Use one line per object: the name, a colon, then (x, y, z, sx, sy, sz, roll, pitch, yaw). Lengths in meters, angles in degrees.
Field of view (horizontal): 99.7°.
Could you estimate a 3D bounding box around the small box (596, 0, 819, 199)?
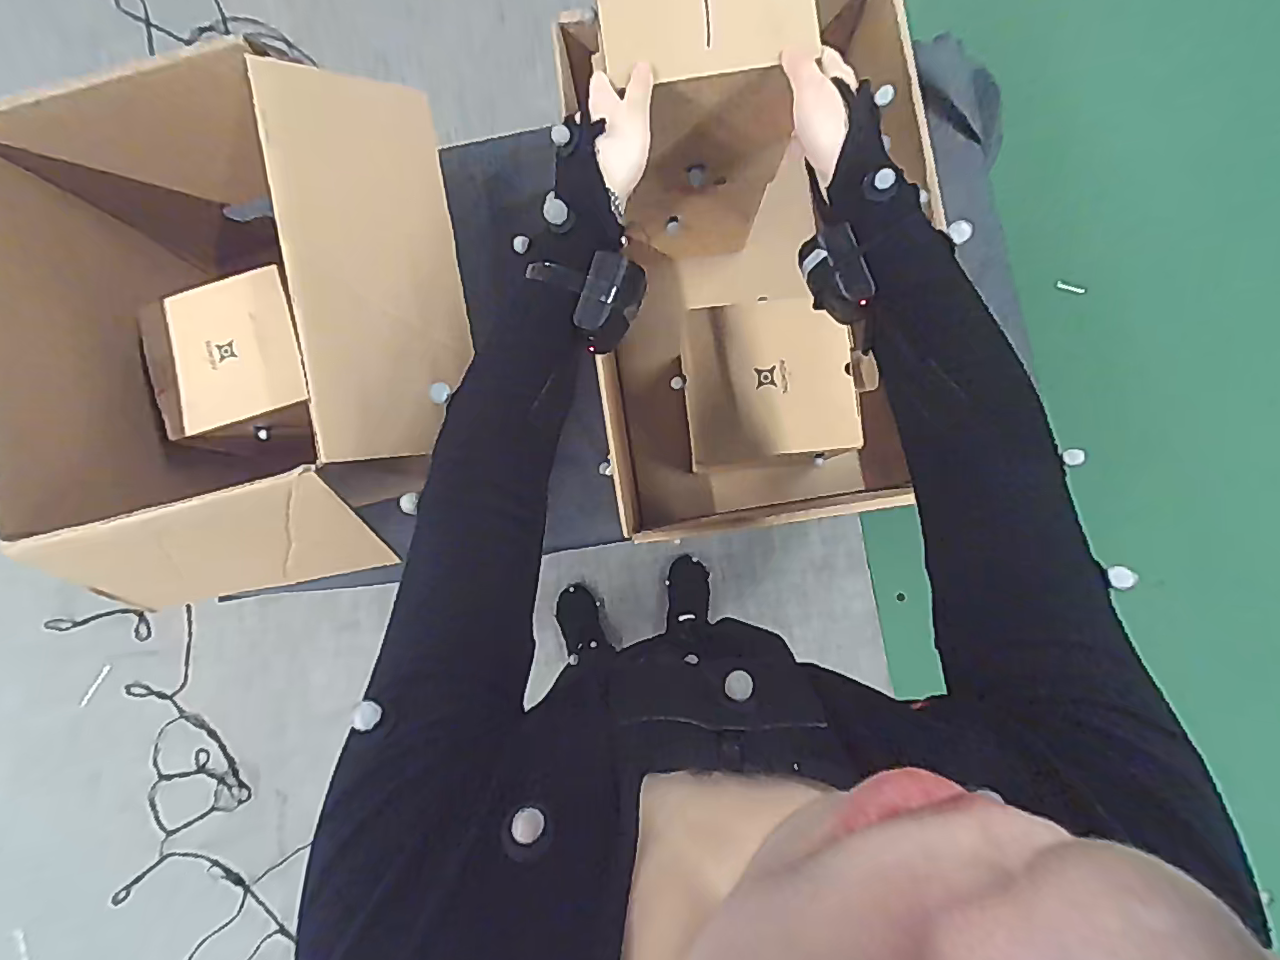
small box: (0.048, -0.394, 0.495, 0.168, 0.176, 0.179, -8, 90, 2)
